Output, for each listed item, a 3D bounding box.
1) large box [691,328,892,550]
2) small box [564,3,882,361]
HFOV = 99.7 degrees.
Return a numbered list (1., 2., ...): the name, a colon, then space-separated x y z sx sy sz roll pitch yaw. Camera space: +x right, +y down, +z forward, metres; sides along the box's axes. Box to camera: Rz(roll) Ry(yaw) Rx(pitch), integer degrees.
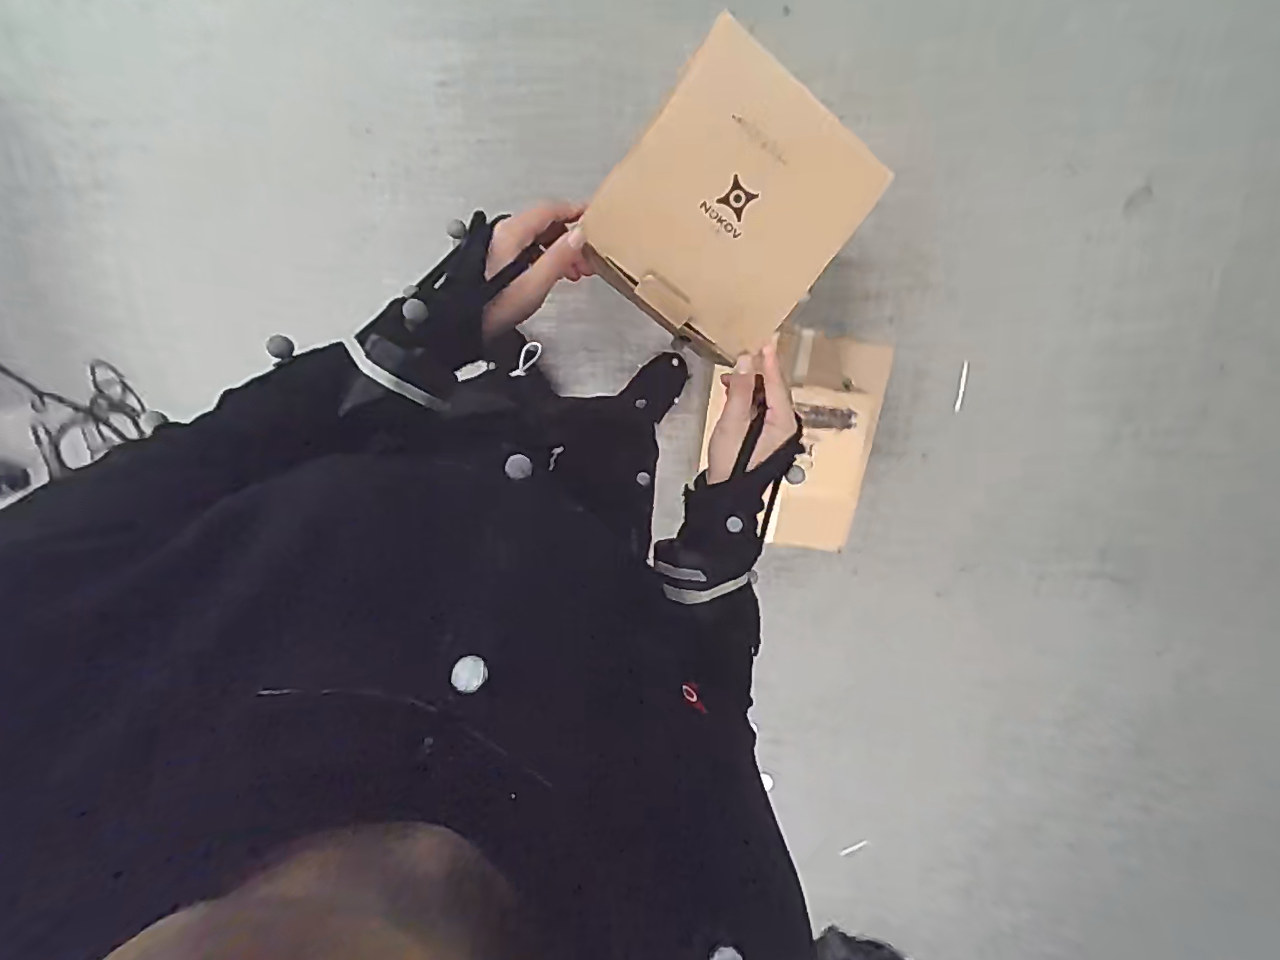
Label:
1. large box: 0.287 -0.111 1.158 0.320 0.320 0.408 8 109 3
2. small box: 0.056 -0.222 0.462 0.168 0.176 0.179 34 100 -12
